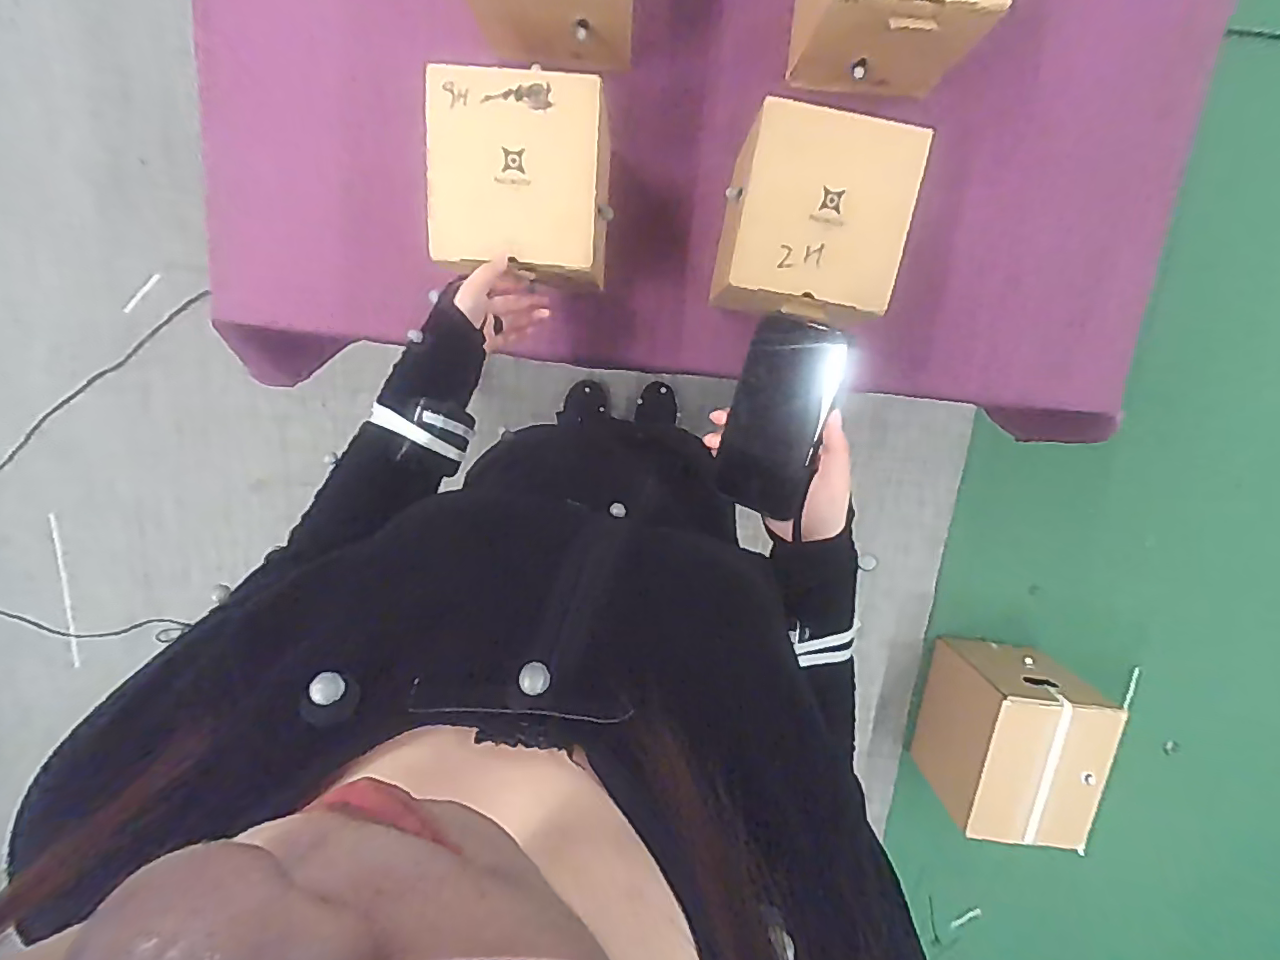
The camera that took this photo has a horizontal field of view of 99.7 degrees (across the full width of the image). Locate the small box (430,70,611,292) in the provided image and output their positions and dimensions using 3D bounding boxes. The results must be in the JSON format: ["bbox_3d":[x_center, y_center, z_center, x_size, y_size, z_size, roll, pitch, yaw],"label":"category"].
[{"bbox_3d":[-0.121,-0.312,0.603,0.168,0.176,0.179,3,102,-1],"label":"small box"}]

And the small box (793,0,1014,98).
[{"bbox_3d":[0.265,-0.534,0.554,0.168,0.176,0.179,4,103,0],"label":"small box"}]

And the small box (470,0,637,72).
[{"bbox_3d":[-0.084,-0.559,0.551,0.168,0.176,0.179,6,102,-2],"label":"small box"}]

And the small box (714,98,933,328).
[{"bbox_3d":[0.186,-0.278,0.607,0.168,0.176,0.179,11,102,-1],"label":"small box"}]
